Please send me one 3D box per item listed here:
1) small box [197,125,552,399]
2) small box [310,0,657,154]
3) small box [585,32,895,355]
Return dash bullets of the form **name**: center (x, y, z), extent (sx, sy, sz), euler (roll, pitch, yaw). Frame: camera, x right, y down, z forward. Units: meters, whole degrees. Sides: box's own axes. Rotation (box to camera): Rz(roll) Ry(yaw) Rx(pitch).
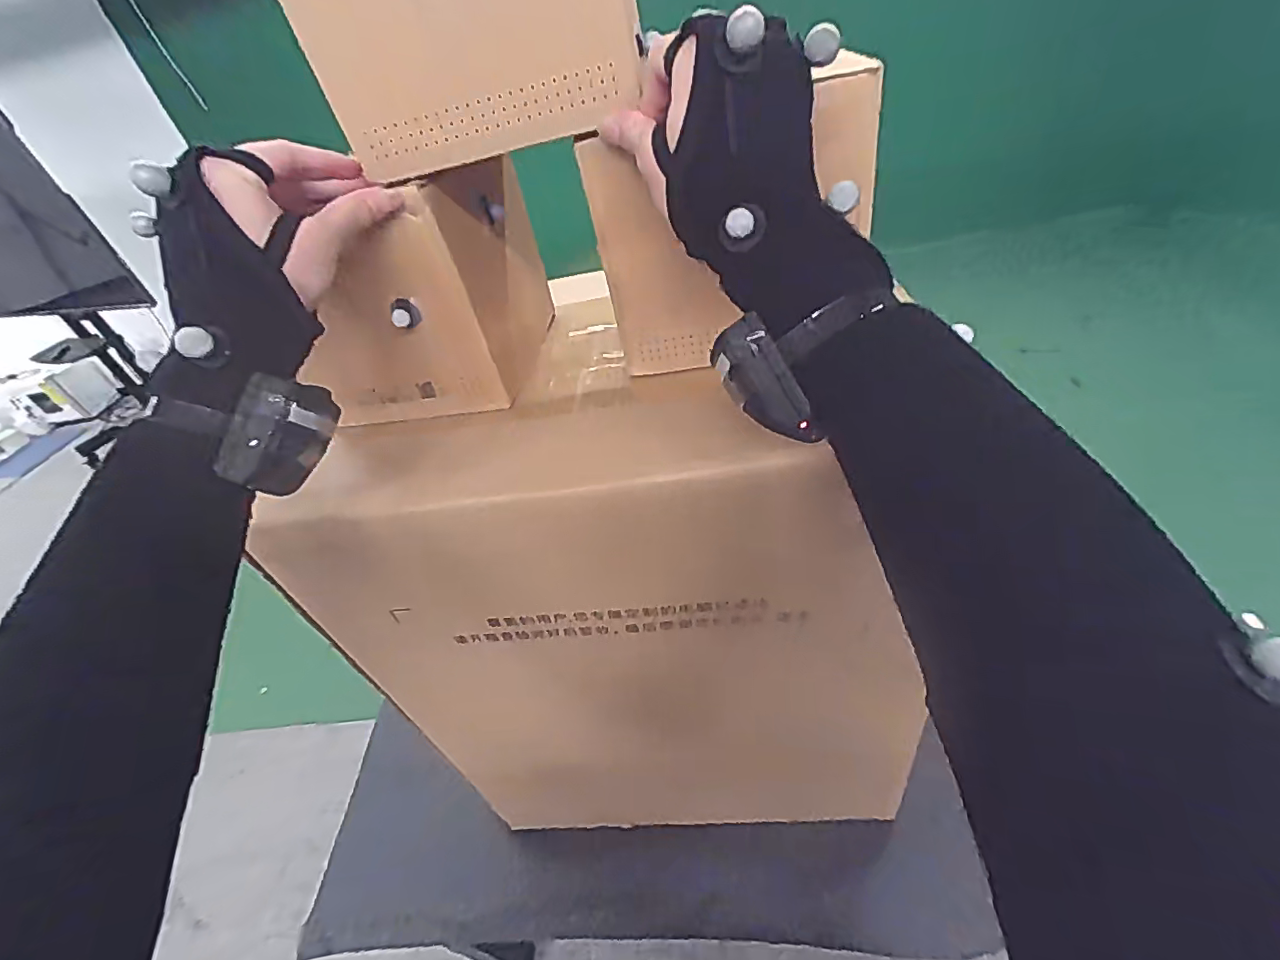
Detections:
- **small box**: center (-0.181, -0.177, 0.440), extent (0.168, 0.176, 0.179), euler (-3, 41, 9)
- **small box**: center (-0.086, -0.315, 0.318), extent (0.179, 0.176, 0.168), euler (-9, 40, 8)
- **small box**: center (0.072, -0.210, 0.409), extent (0.179, 0.176, 0.168), euler (-7, 40, 9)
